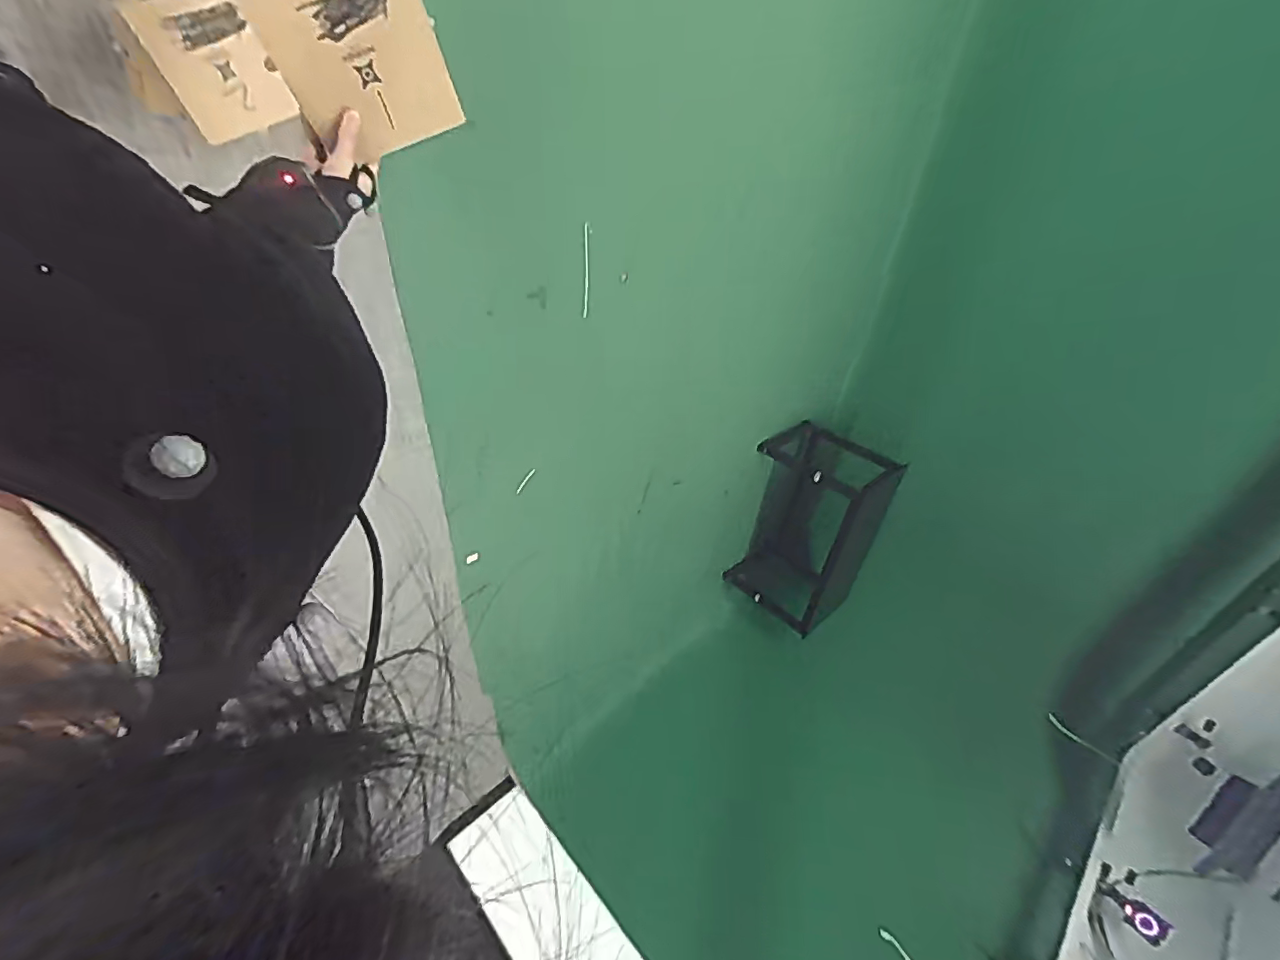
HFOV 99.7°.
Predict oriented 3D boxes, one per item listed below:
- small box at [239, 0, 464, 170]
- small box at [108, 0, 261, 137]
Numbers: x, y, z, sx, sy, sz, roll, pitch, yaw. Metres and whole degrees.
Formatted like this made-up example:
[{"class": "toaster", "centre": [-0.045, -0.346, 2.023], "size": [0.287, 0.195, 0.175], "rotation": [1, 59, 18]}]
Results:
[{"class": "small box", "centre": [-0.333, -0.504, 0.617], "size": [0.168, 0.176, 0.179], "rotation": [-27, 151, -8]}, {"class": "small box", "centre": [-0.807, -0.729, 0.961], "size": [0.179, 0.176, 0.168], "rotation": [-17, 131, -43]}]
